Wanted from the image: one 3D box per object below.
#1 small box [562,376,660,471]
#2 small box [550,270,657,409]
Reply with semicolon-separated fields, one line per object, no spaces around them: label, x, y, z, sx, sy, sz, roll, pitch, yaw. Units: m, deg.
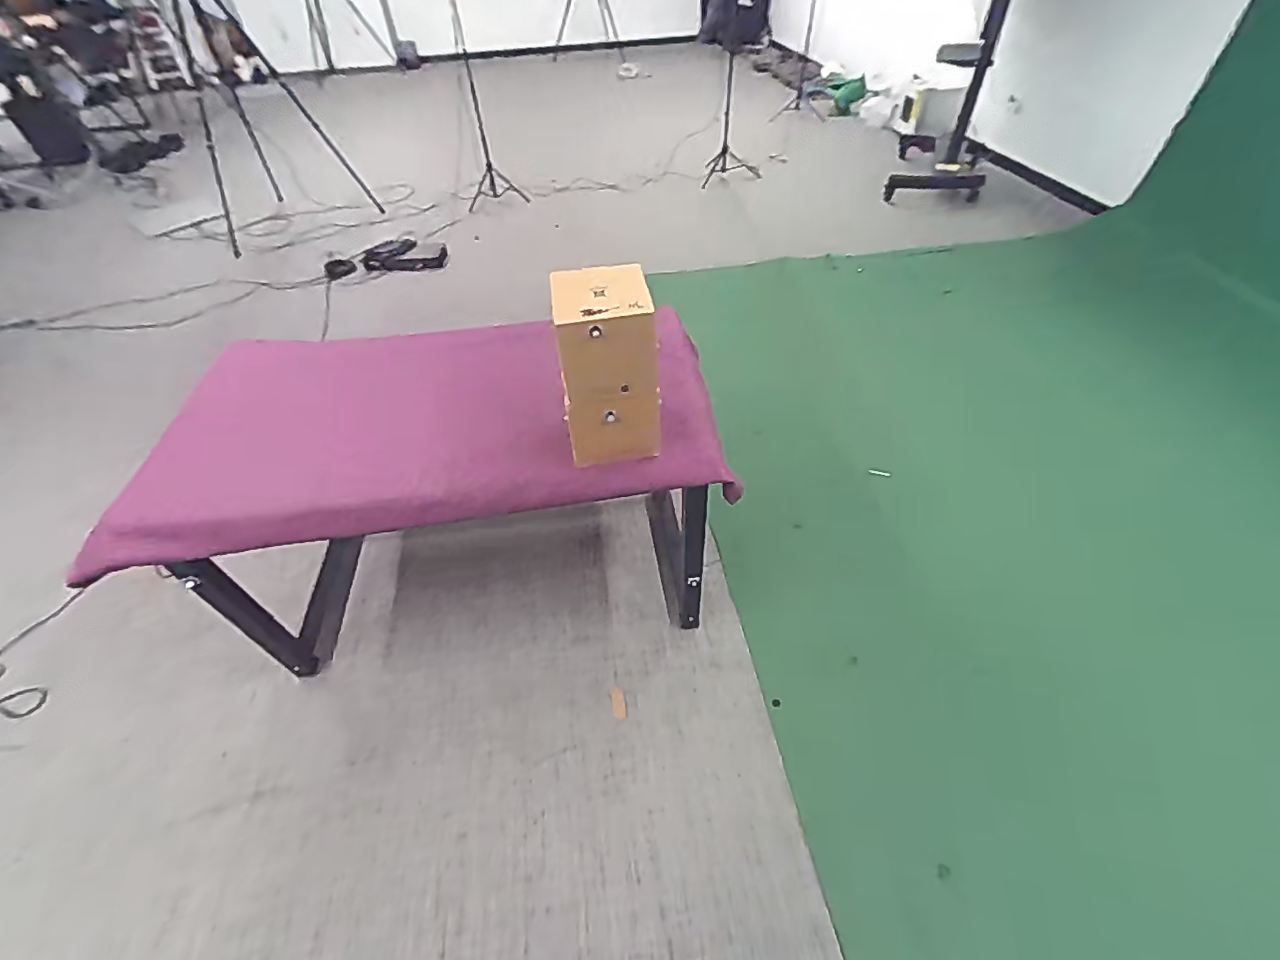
small box;-0.056;-0.141;1.099;0.179;0.176;0.168;-10;48;-3
small box;-0.065;-0.254;0.981;0.168;0.176;0.179;-10;47;-2
